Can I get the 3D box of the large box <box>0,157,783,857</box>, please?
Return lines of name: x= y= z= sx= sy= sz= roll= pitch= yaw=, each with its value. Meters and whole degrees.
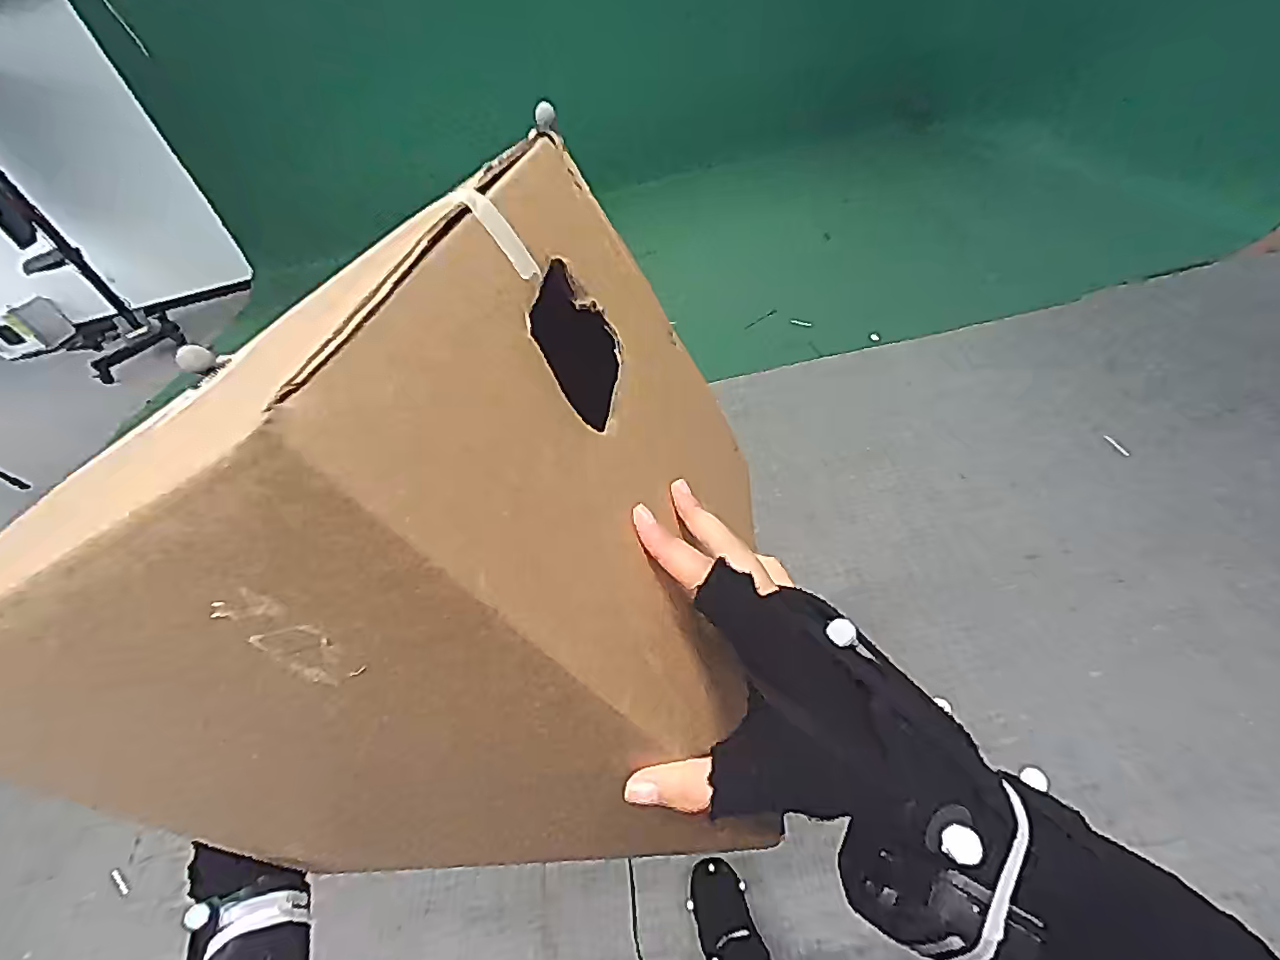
large box: x=-0.150 y=0.048 z=0.406 sx=0.408 sy=0.320 sz=0.320 roll=-21 pitch=37 yaw=23
